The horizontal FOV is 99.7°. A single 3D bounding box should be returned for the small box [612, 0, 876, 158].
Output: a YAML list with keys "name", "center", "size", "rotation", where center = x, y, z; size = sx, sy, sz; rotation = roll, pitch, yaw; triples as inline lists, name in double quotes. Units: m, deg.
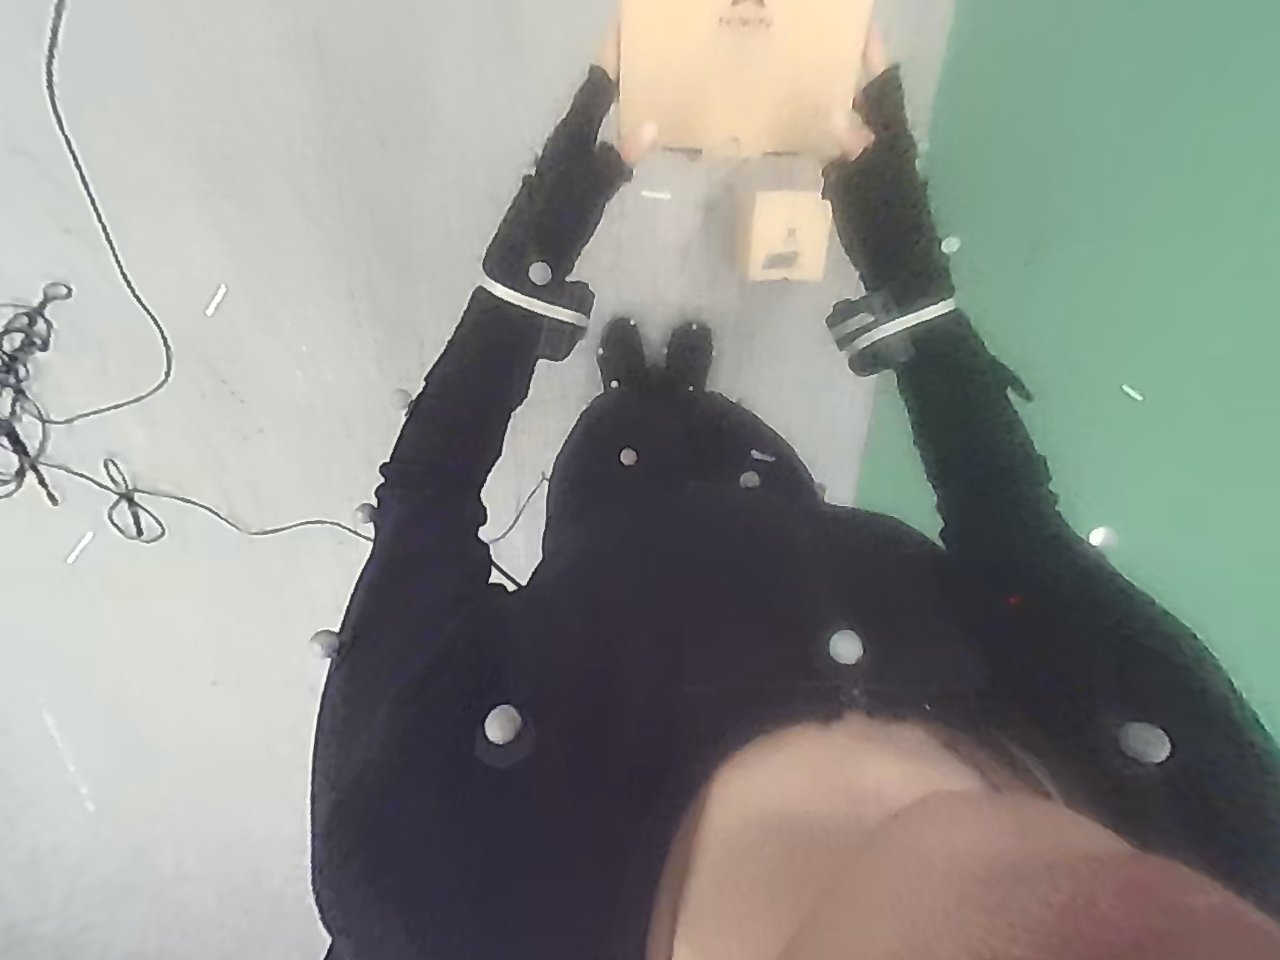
- name: "small box"
  center: [0.064, -0.349, 0.402]
  size: [0.168, 0.176, 0.179]
  rotation: [1, 124, -3]

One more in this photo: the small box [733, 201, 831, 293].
- name: "small box"
  center: [0.309, -0.519, 1.217]
  size: [0.168, 0.176, 0.179]
  rotation: [1, 110, -2]
